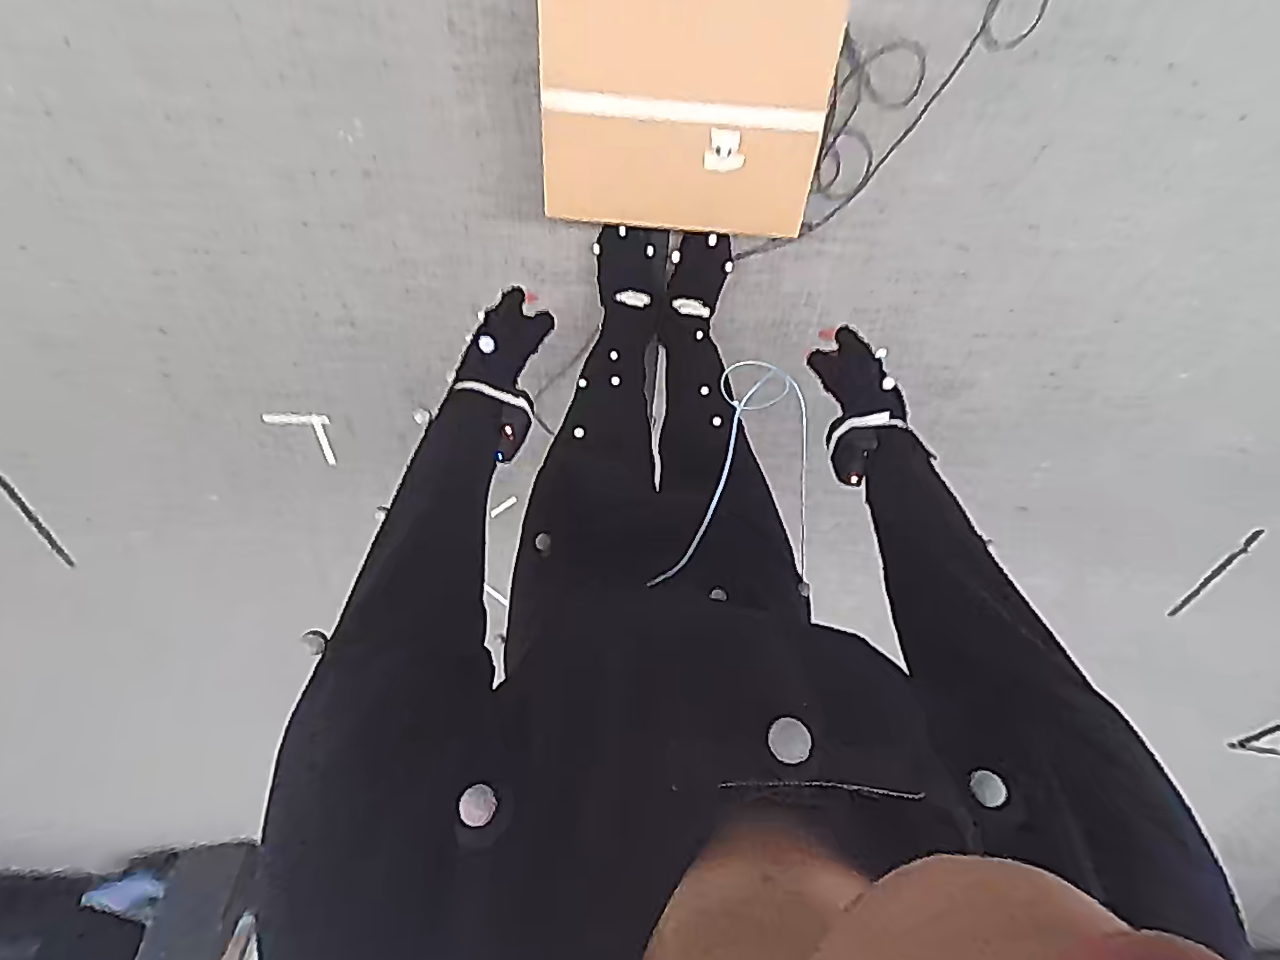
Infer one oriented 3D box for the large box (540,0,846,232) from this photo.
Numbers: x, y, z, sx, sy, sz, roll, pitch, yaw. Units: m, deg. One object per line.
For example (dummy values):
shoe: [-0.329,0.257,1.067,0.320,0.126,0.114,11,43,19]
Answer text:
large box: [0.063,-0.620,0.892,0.408,0.320,0.320,4,127,-2]
